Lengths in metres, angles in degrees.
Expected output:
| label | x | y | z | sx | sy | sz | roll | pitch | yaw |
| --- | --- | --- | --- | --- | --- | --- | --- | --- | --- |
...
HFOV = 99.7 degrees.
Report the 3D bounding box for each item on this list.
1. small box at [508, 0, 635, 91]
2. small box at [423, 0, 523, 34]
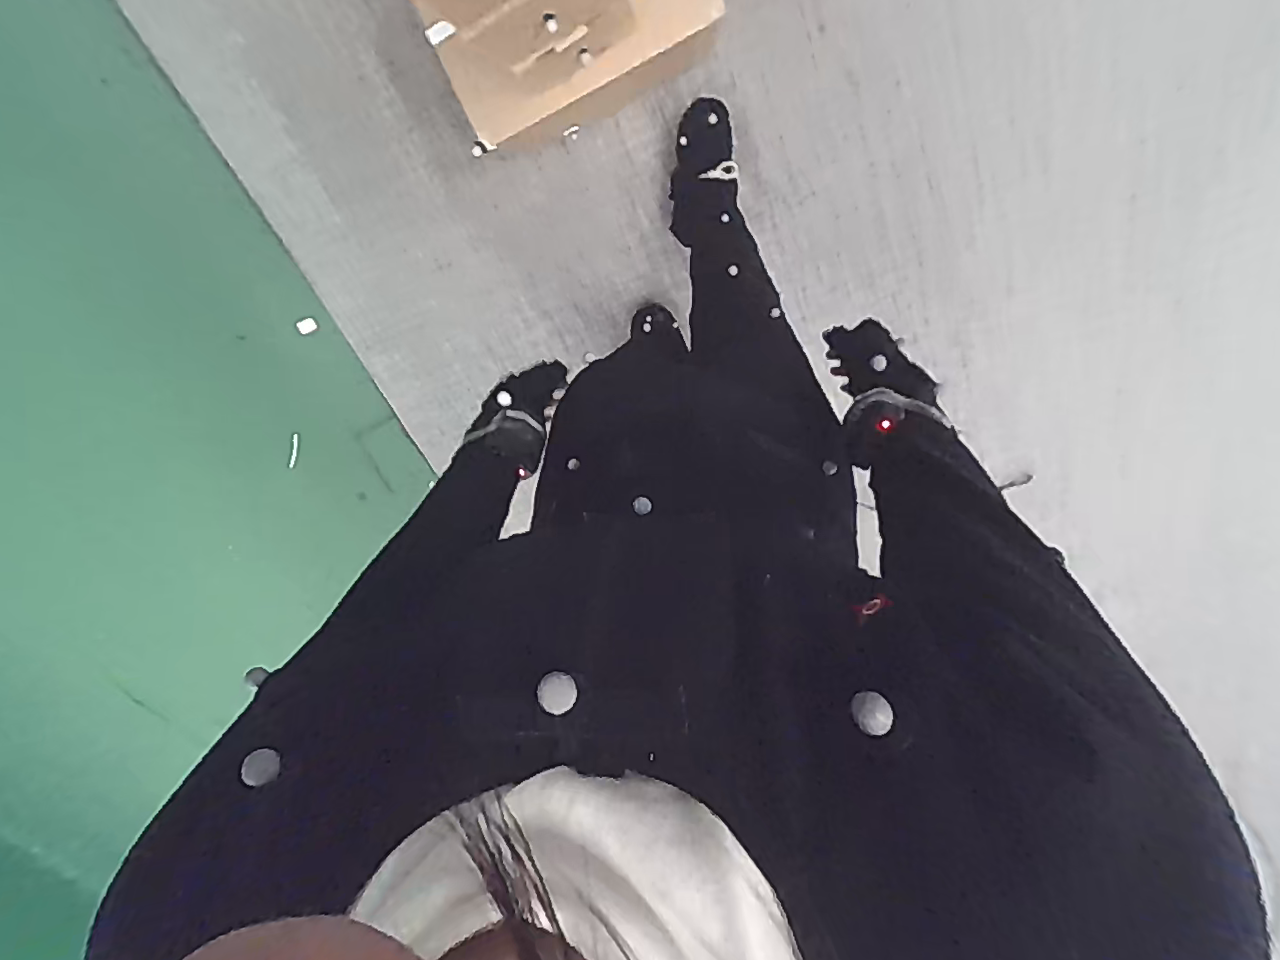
| label | x | y | z | sx | sy | sz | roll | pitch | yaw |
| --- | --- | --- | --- | --- | --- | --- | --- | --- | --- |
| small box | -0.117 | -0.630 | 0.688 | 0.168 | 0.176 | 0.179 | -23 | 116 | 16 |
| small box | -0.130 | -0.478 | 0.399 | 0.179 | 0.176 | 0.168 | -22 | 117 | 15 |
